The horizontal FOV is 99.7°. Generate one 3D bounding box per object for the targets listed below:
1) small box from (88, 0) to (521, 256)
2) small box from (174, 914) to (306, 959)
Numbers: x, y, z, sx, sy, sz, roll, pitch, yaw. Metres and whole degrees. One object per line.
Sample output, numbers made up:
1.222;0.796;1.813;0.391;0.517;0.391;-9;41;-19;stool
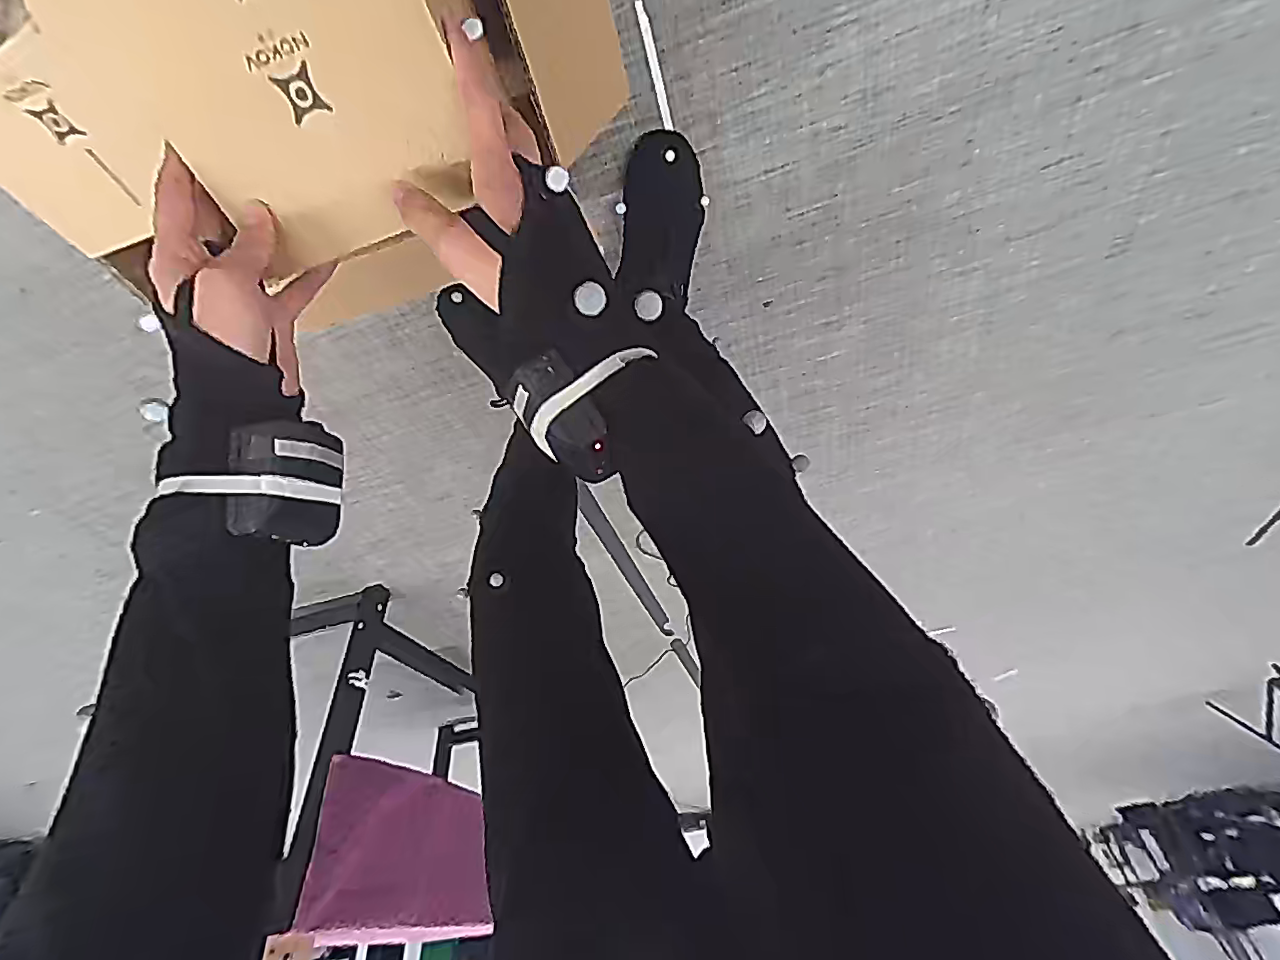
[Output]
-0.186;-0.278;0.345;0.168;0.176;0.179;-15;132;6;small box
-0.831;1.002;1.106;0.179;0.176;0.168;-16;141;13;small box
